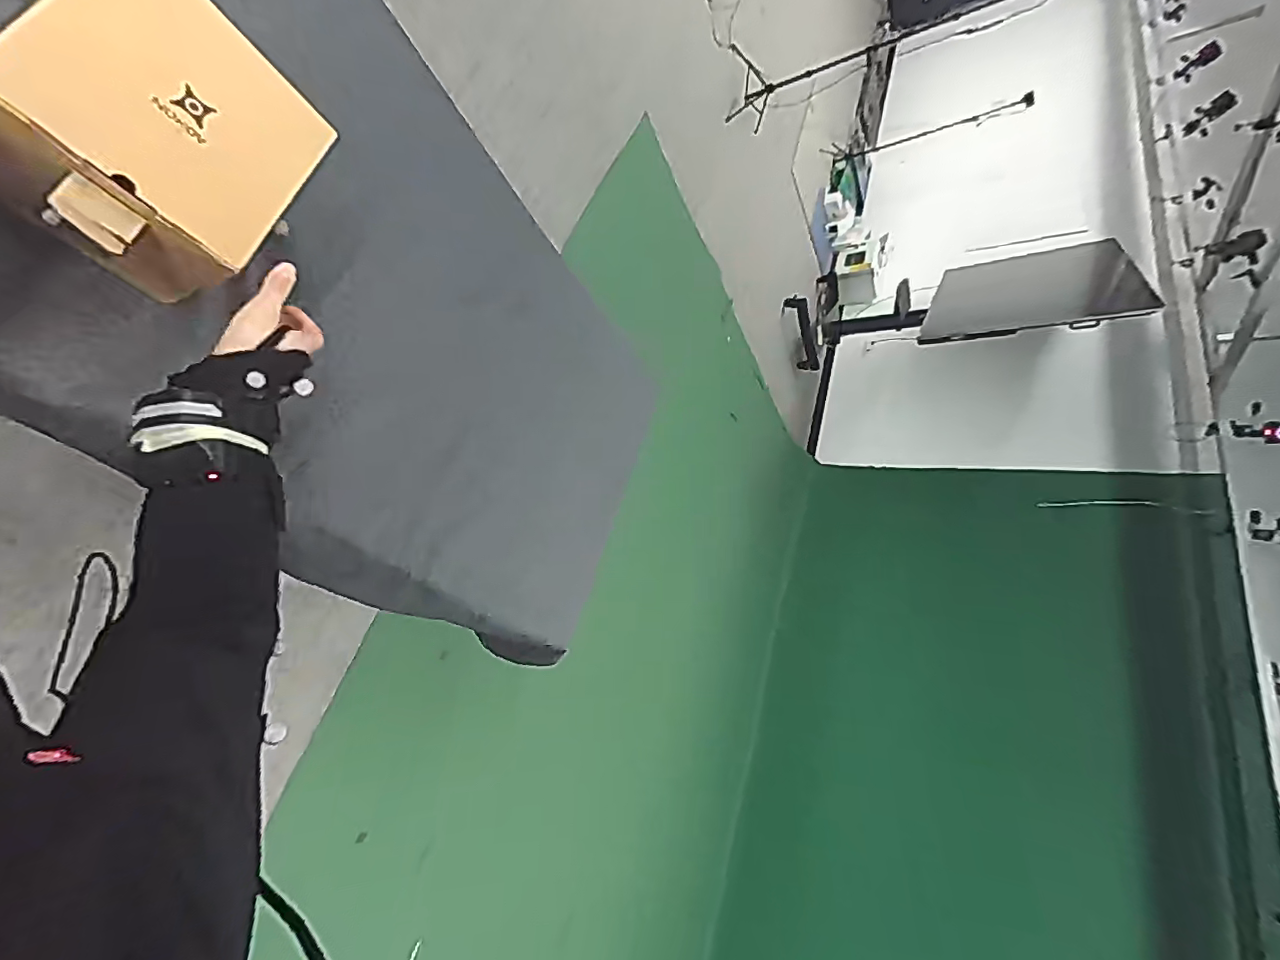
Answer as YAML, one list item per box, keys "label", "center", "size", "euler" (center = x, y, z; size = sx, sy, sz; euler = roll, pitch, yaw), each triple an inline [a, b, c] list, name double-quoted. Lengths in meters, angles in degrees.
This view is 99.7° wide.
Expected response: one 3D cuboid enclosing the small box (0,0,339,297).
- label: "small box"
  center: [-0.413, -0.287, 0.466]
  size: [0.168, 0.176, 0.179]
  euler: [43, 57, -50]
